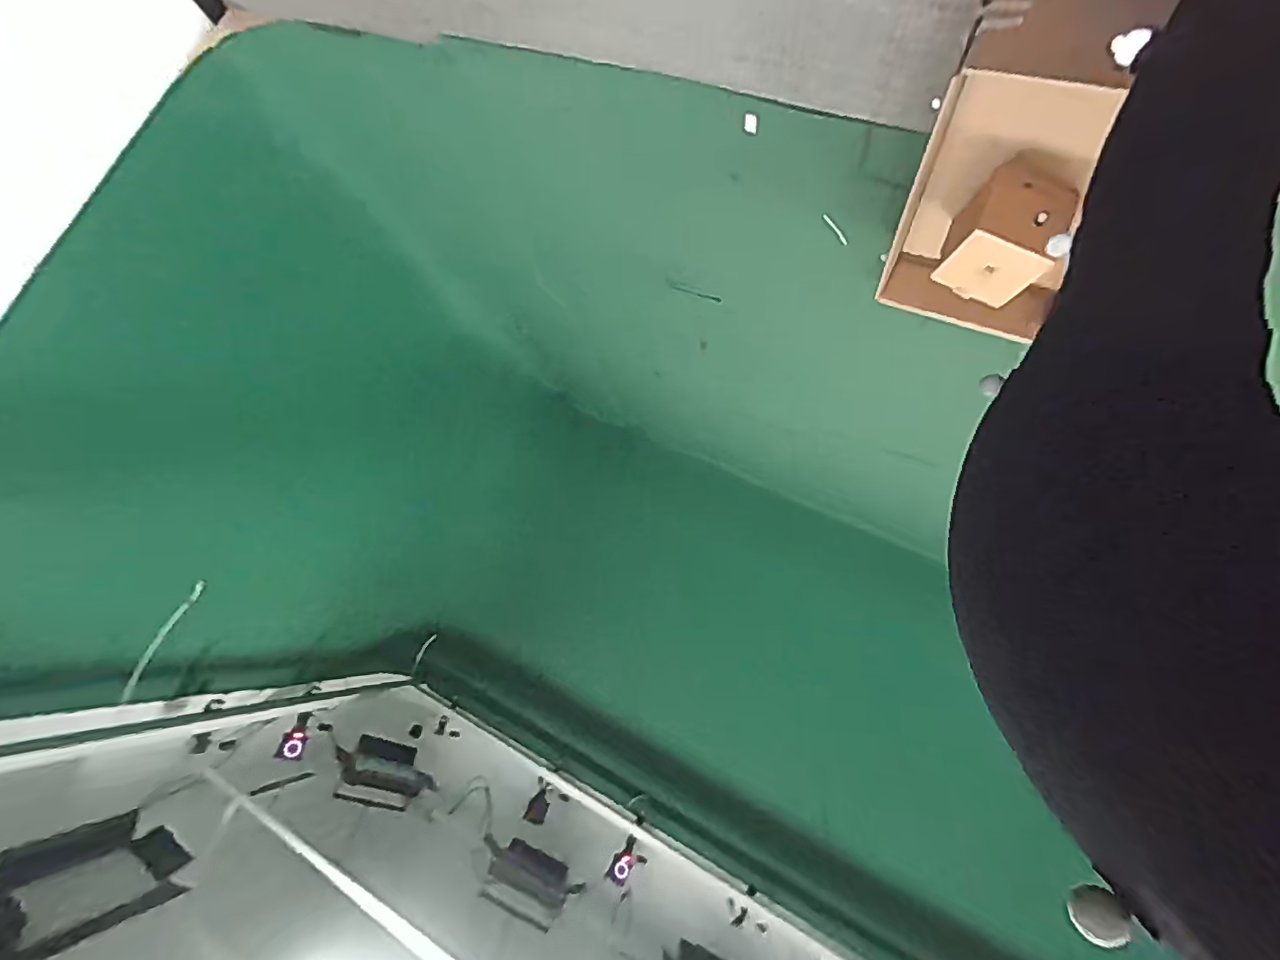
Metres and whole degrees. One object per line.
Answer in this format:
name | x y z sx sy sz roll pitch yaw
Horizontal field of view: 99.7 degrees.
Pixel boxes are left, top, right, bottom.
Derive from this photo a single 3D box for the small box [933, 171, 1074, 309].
small box | 0.764 -0.502 1.137 0.168 0.176 0.179 27 169 5
